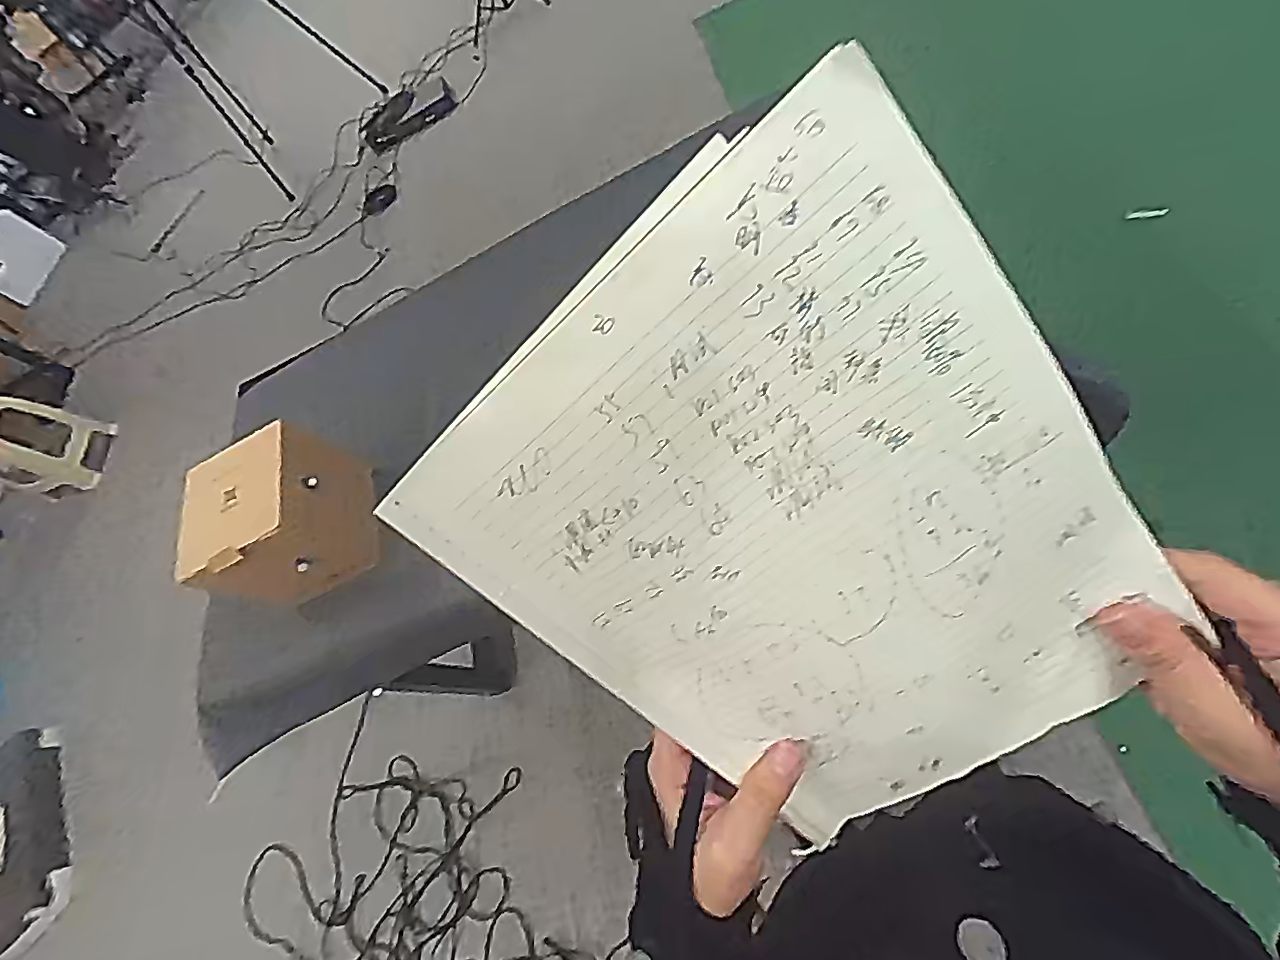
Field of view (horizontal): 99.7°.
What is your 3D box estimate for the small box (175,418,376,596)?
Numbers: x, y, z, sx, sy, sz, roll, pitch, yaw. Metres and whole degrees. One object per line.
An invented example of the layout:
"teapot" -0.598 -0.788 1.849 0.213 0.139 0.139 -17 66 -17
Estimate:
"small box" -0.499 0.051 0.764 0.168 0.176 0.179 -26 59 8
